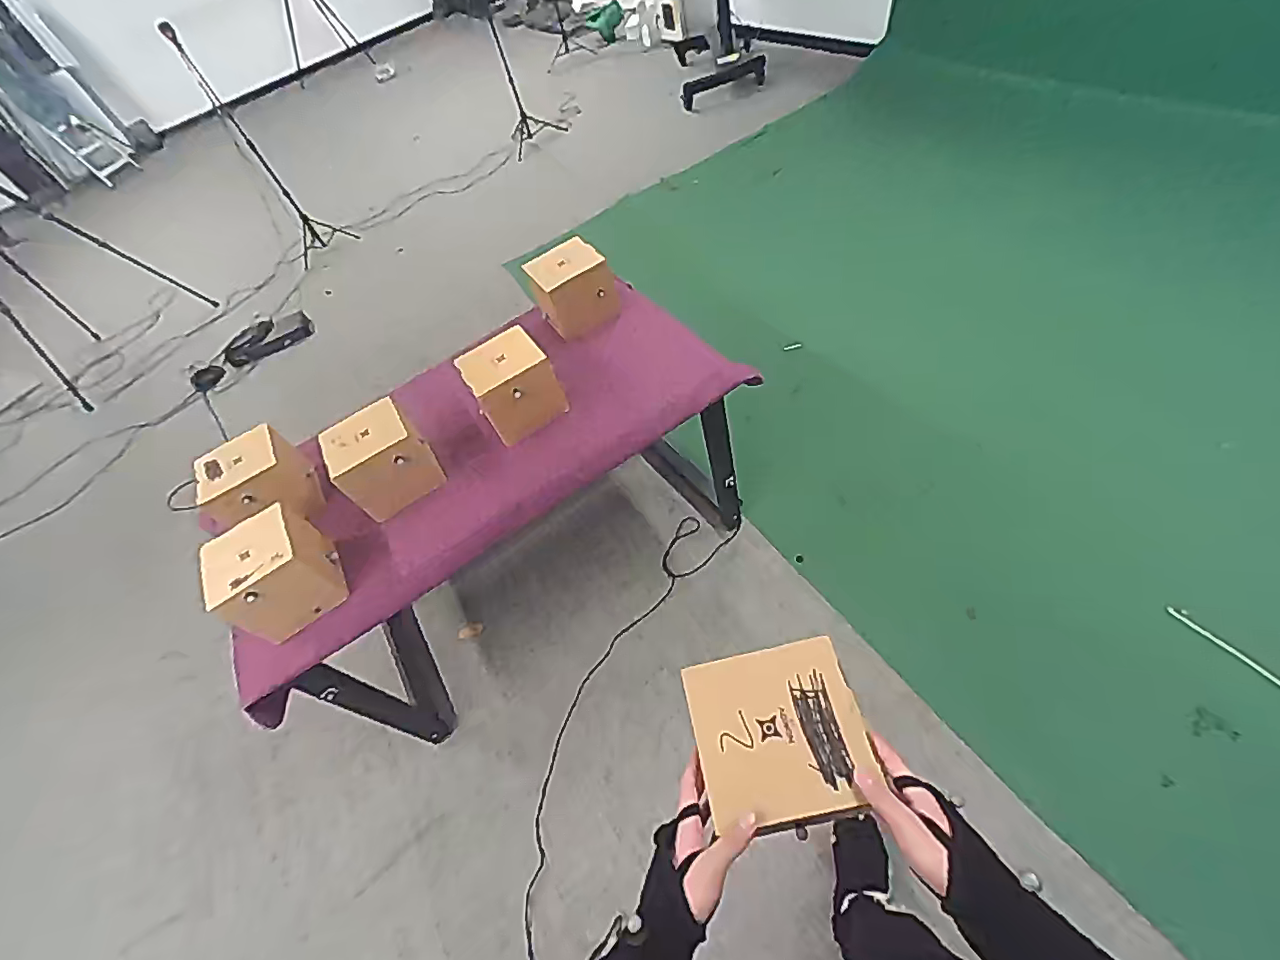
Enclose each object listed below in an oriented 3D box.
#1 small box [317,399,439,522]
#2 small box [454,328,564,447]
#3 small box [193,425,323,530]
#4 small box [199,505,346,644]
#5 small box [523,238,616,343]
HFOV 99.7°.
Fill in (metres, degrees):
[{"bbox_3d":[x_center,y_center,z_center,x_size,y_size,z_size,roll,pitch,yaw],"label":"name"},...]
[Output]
[{"bbox_3d":[-0.570,-0.041,1.198,0.179,0.176,0.168,-33,52,-10],"label":"small box"},{"bbox_3d":[-0.294,-0.213,1.255,0.179,0.176,0.168,-34,53,-9],"label":"small box"},{"bbox_3d":[-0.871,0.014,1.239,0.179,0.176,0.168,-33,53,-11],"label":"small box"},{"bbox_3d":[-0.718,0.189,1.065,0.168,0.176,0.179,-35,51,-11],"label":"small box"},{"bbox_3d":[-0.178,-0.499,1.433,0.179,0.176,0.168,-33,54,-9],"label":"small box"}]
